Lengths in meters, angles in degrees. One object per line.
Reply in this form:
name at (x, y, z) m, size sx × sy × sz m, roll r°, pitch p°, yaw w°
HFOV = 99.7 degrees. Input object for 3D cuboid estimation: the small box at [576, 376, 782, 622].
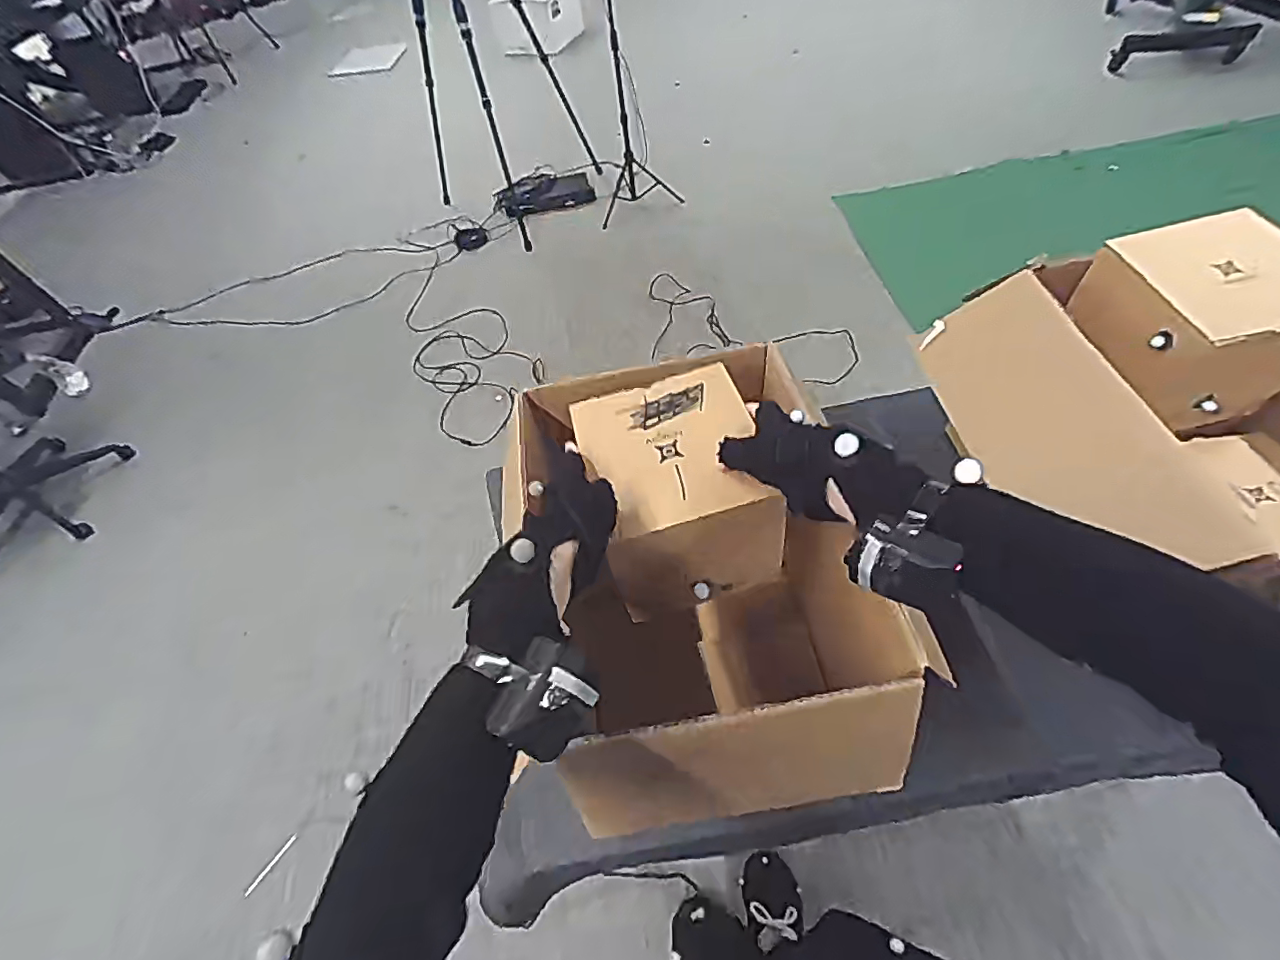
small box at (0.038, 0.023, 0.576) m, size 0.168 × 0.176 × 0.179 m, roll -15°, pitch 51°, yaw -1°
